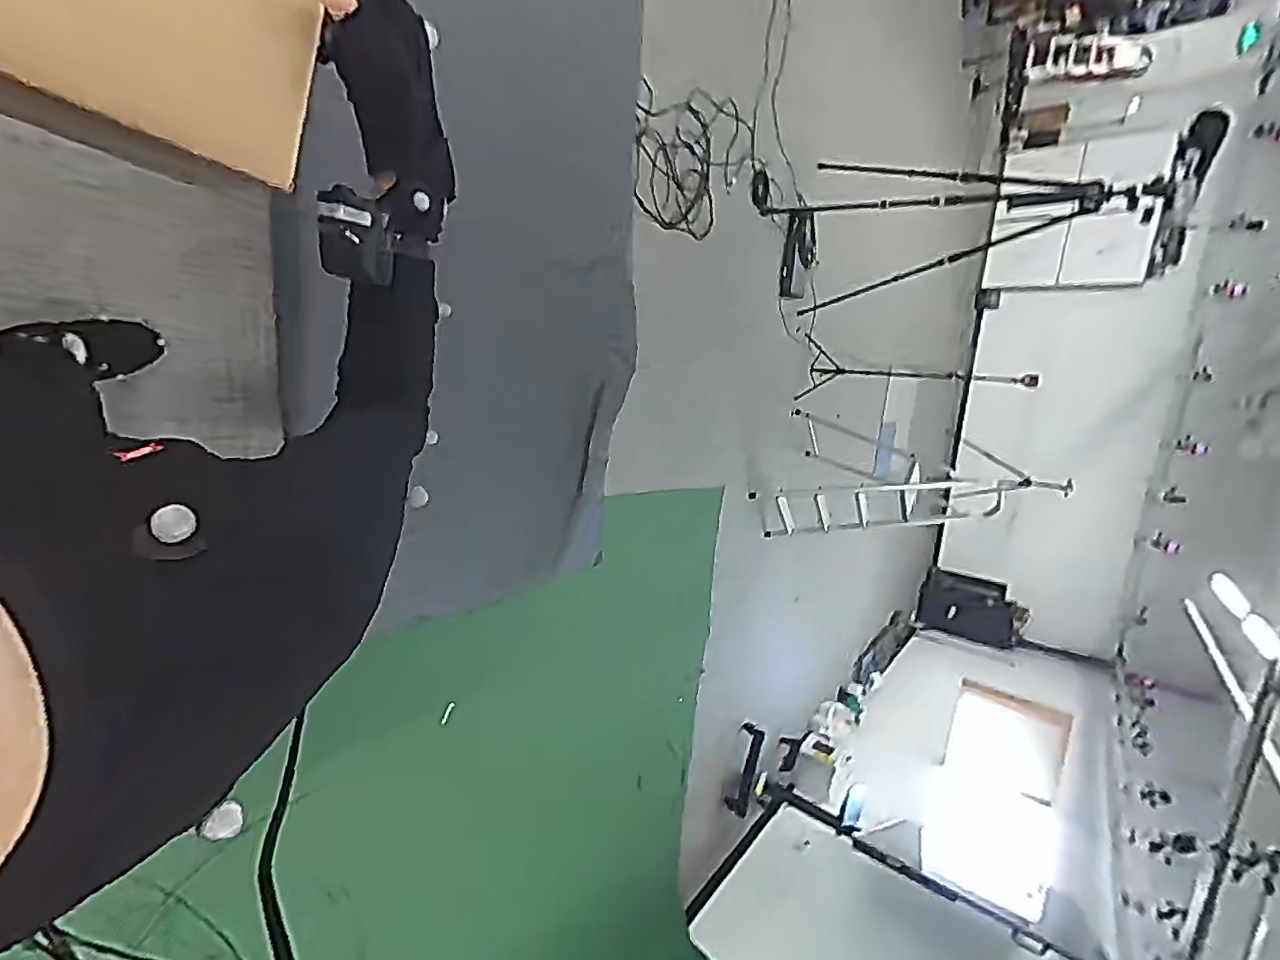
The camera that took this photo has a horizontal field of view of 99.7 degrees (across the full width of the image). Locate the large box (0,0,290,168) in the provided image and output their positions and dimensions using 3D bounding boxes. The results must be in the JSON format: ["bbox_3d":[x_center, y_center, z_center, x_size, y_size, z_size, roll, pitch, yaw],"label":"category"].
[{"bbox_3d":[-0.436,-0.408,0.271,0.408,0.320,0.320,5,107,-50],"label":"large box"}]
